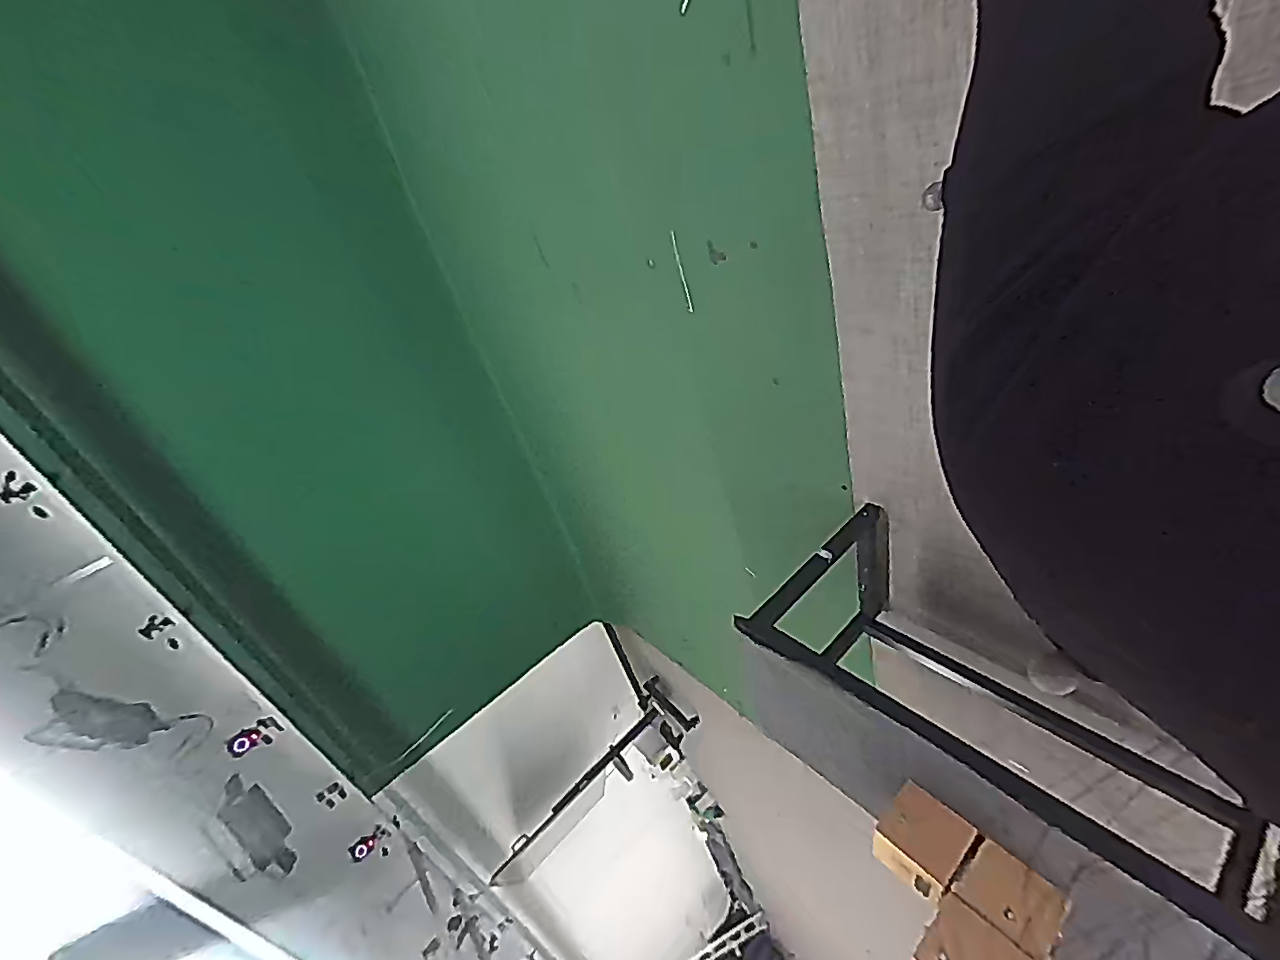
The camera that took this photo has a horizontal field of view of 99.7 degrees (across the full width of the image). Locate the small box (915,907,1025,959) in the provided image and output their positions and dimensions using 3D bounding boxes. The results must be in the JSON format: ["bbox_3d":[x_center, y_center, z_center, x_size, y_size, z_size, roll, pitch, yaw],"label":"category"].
[{"bbox_3d":[0.708,1.065,1.153,0.179,0.176,0.168,25,141,46],"label":"small box"}]
